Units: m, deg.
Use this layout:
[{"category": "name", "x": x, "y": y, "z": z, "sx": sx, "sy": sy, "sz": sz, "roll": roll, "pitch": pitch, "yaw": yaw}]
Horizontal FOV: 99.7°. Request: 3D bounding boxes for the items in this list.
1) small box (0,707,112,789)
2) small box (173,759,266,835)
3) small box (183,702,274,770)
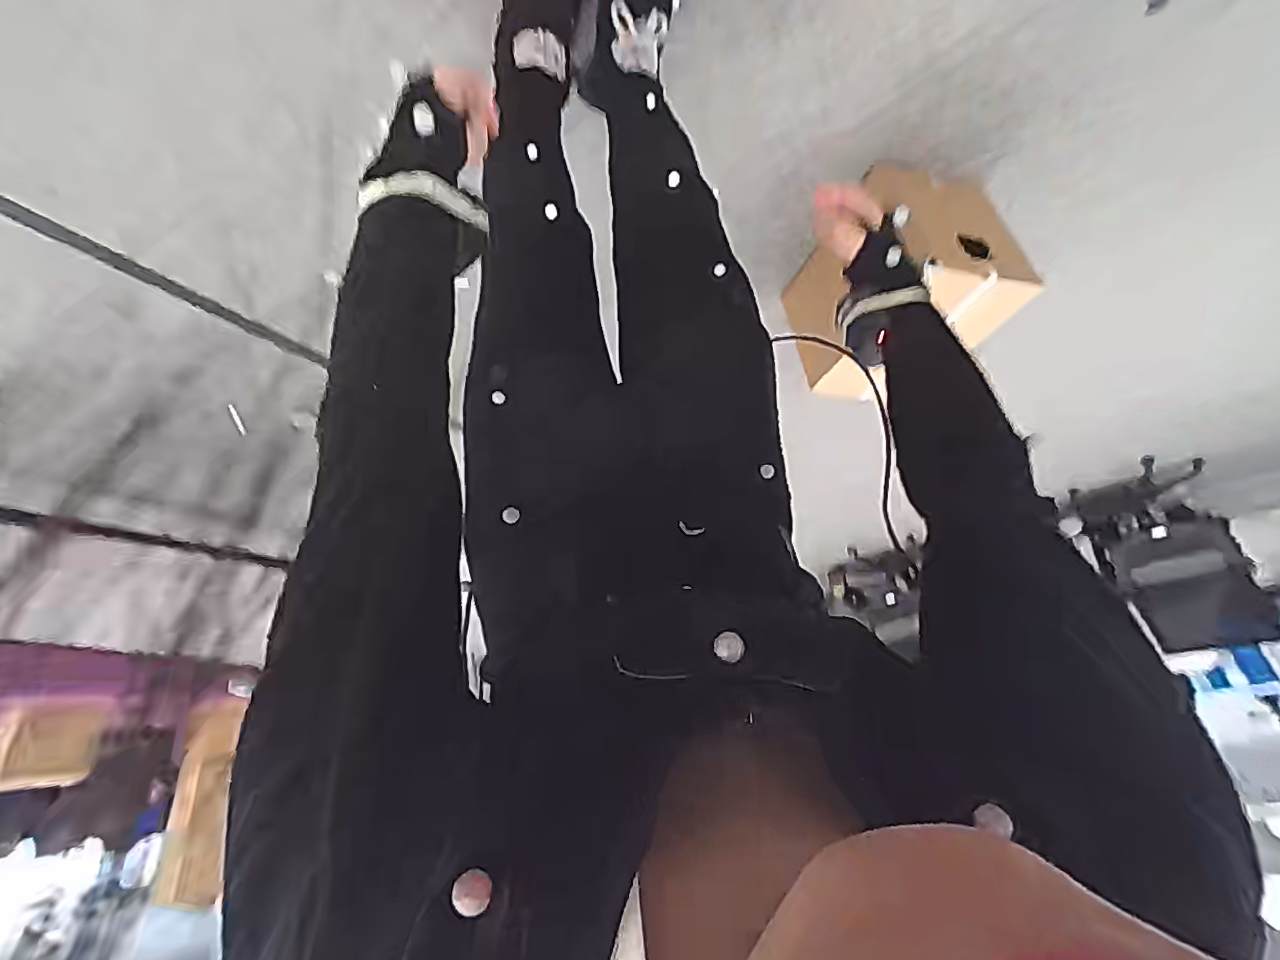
[{"category": "small box", "x": -1.516, "y": 0.687, "z": 1.395, "sx": 0.179, "sy": 0.176, "sz": 0.168, "roll": -22, "pitch": 150, "yaw": 27}, {"category": "small box", "x": -1.234, "y": 0.928, "z": 1.596, "sx": 0.179, "sy": 0.176, "sz": 0.168, "roll": -26, "pitch": 148, "yaw": 31}, {"category": "small box", "x": -1.271, "y": 0.791, "z": 1.681, "sx": 0.179, "sy": 0.176, "sz": 0.168, "roll": -23, "pitch": 150, "yaw": 27}]
